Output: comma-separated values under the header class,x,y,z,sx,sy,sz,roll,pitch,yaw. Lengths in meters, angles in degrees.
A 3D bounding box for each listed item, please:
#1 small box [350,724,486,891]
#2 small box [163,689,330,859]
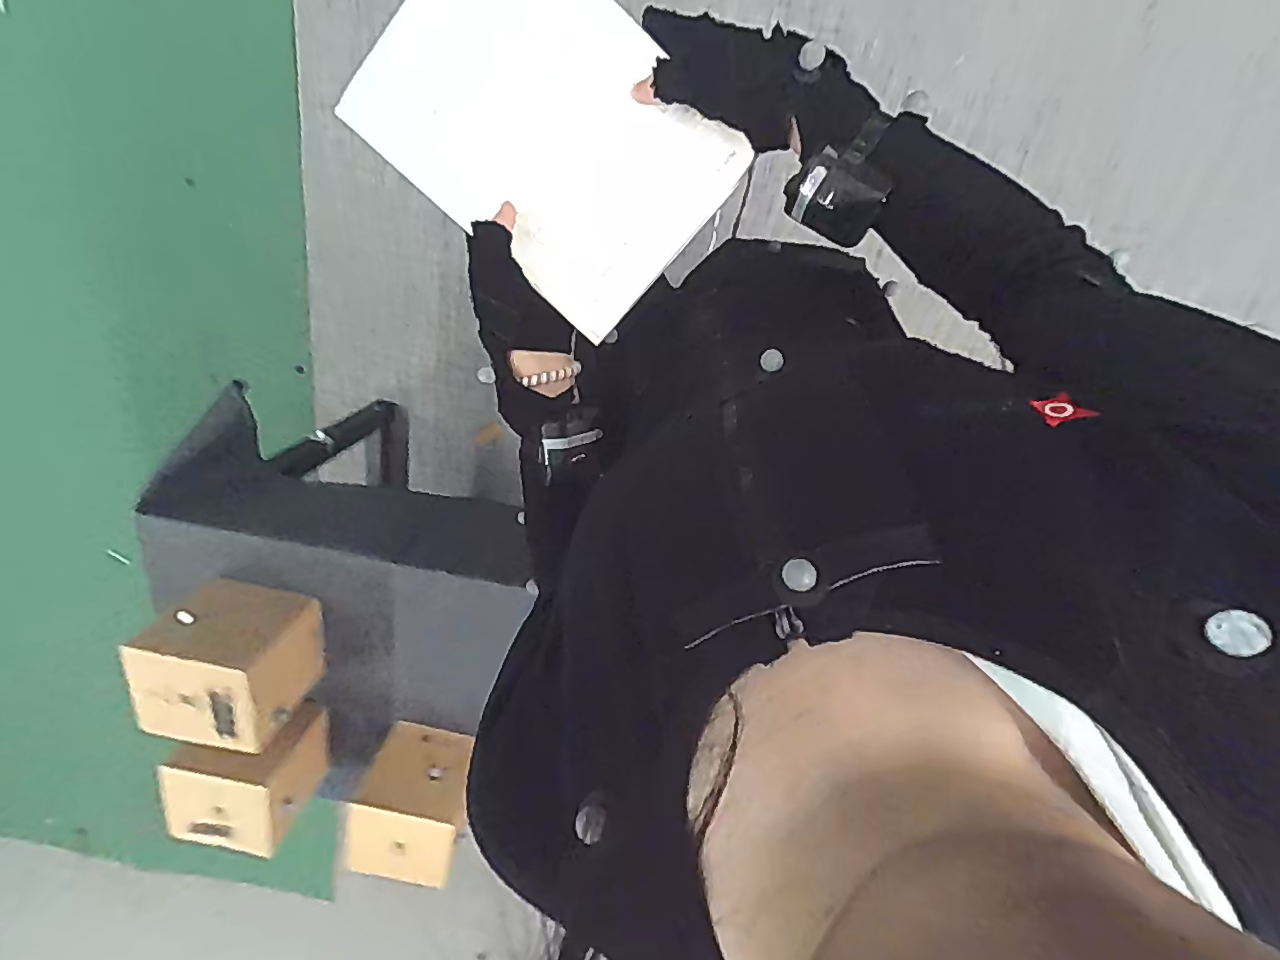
class,x,y,z,sx,sy,sz,roll,pitch,yaw
small box,-0.378,0.562,0.941,0.168,0.176,0.179,14,113,-2
small box,-0.661,0.499,0.931,0.168,0.176,0.179,13,113,-2
